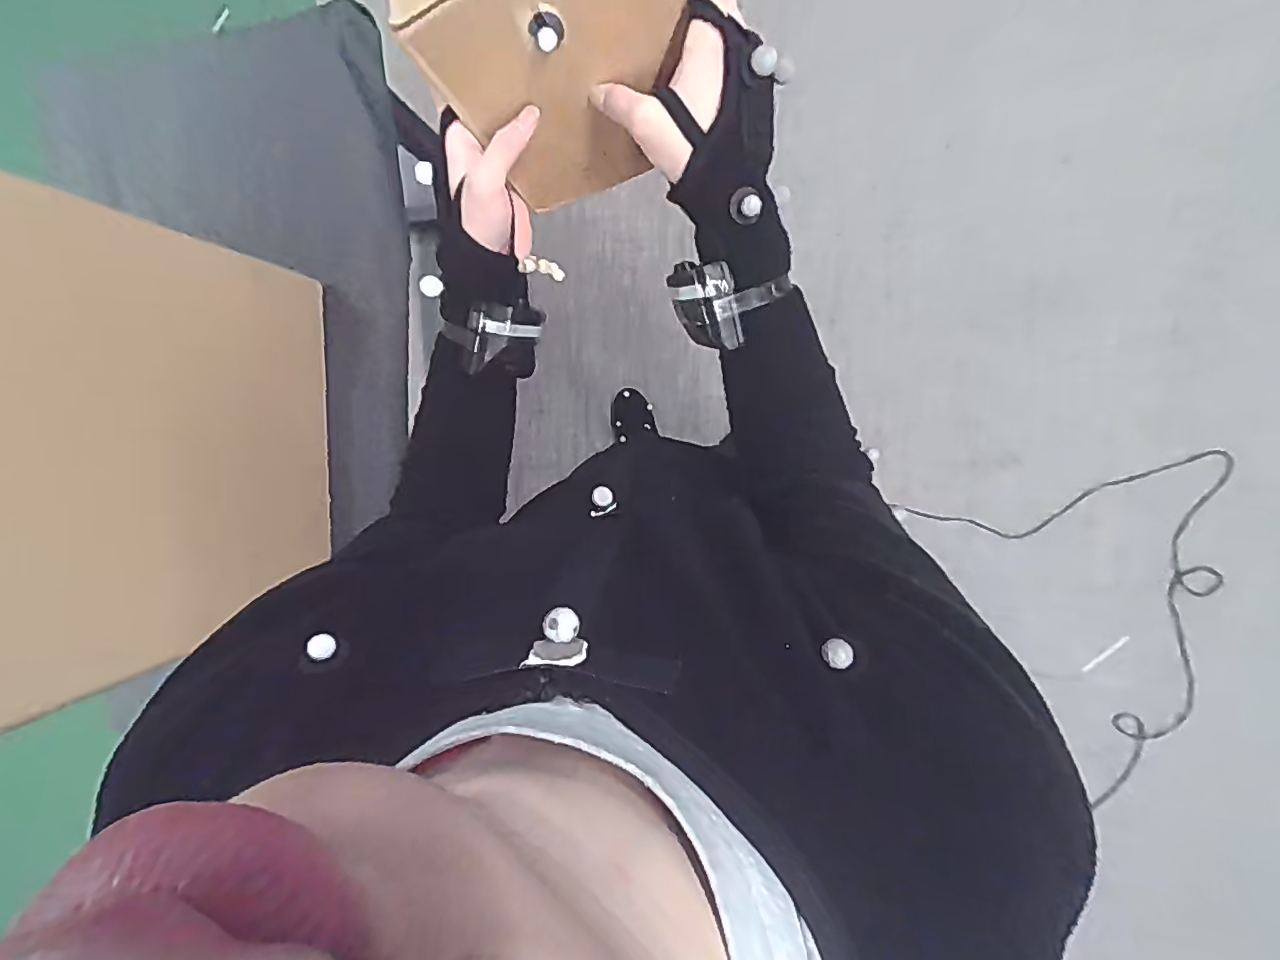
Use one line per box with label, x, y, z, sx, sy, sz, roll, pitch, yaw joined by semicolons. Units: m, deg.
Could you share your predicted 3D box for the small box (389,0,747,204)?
small box;-0.040;-0.331;0.369;0.179;0.176;0.168;-15;71;17
